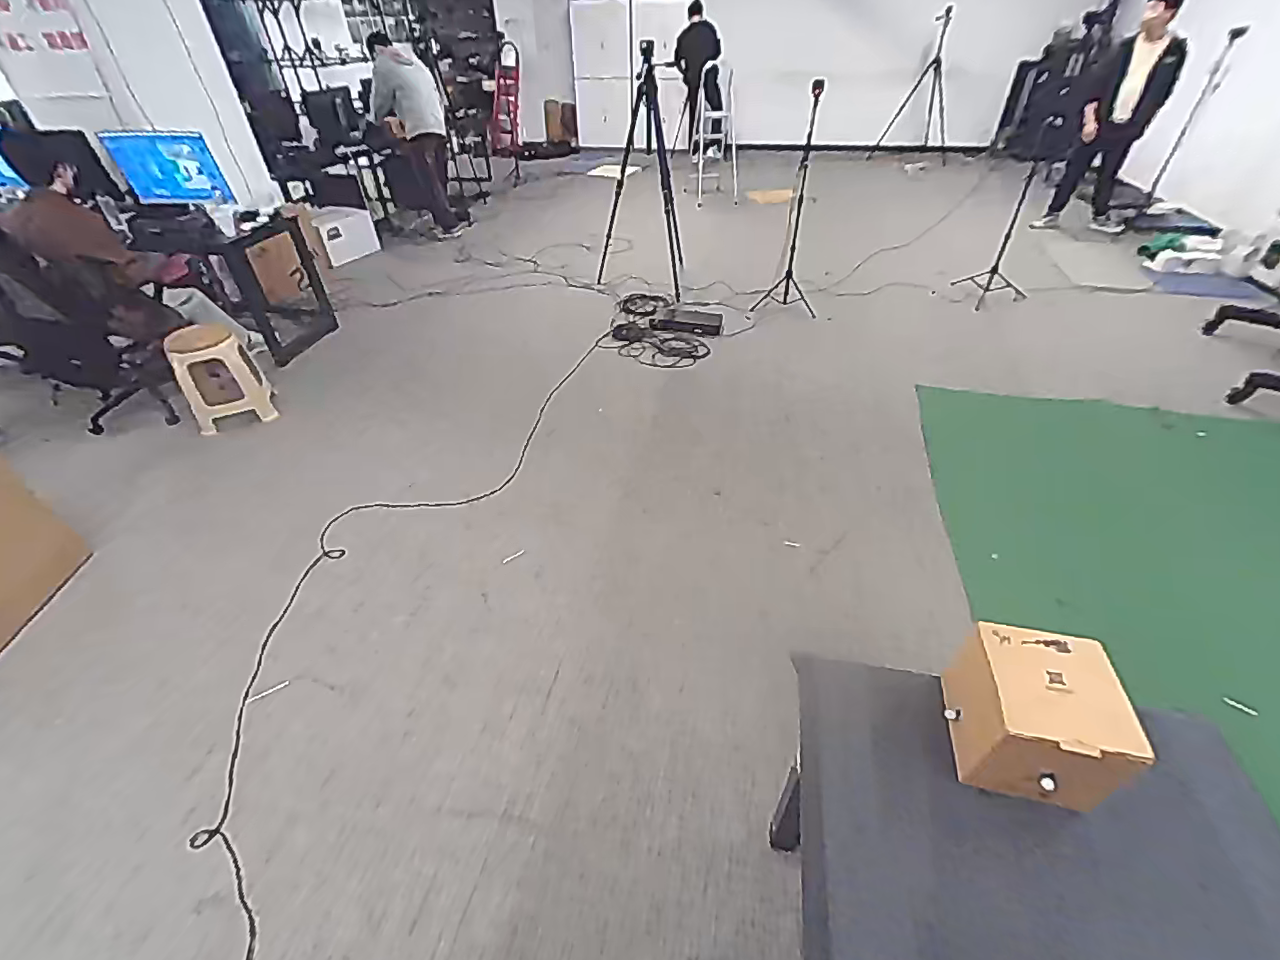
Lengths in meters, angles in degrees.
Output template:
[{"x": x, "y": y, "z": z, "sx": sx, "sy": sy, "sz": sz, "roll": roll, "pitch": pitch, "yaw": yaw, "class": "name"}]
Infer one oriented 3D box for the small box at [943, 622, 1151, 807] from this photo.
[{"x": 0.561, "y": 0.338, "z": 0.778, "sx": 0.168, "sy": 0.176, "sz": 0.179, "roll": 8, "pitch": 42, "yaw": 11, "class": "small box"}]
